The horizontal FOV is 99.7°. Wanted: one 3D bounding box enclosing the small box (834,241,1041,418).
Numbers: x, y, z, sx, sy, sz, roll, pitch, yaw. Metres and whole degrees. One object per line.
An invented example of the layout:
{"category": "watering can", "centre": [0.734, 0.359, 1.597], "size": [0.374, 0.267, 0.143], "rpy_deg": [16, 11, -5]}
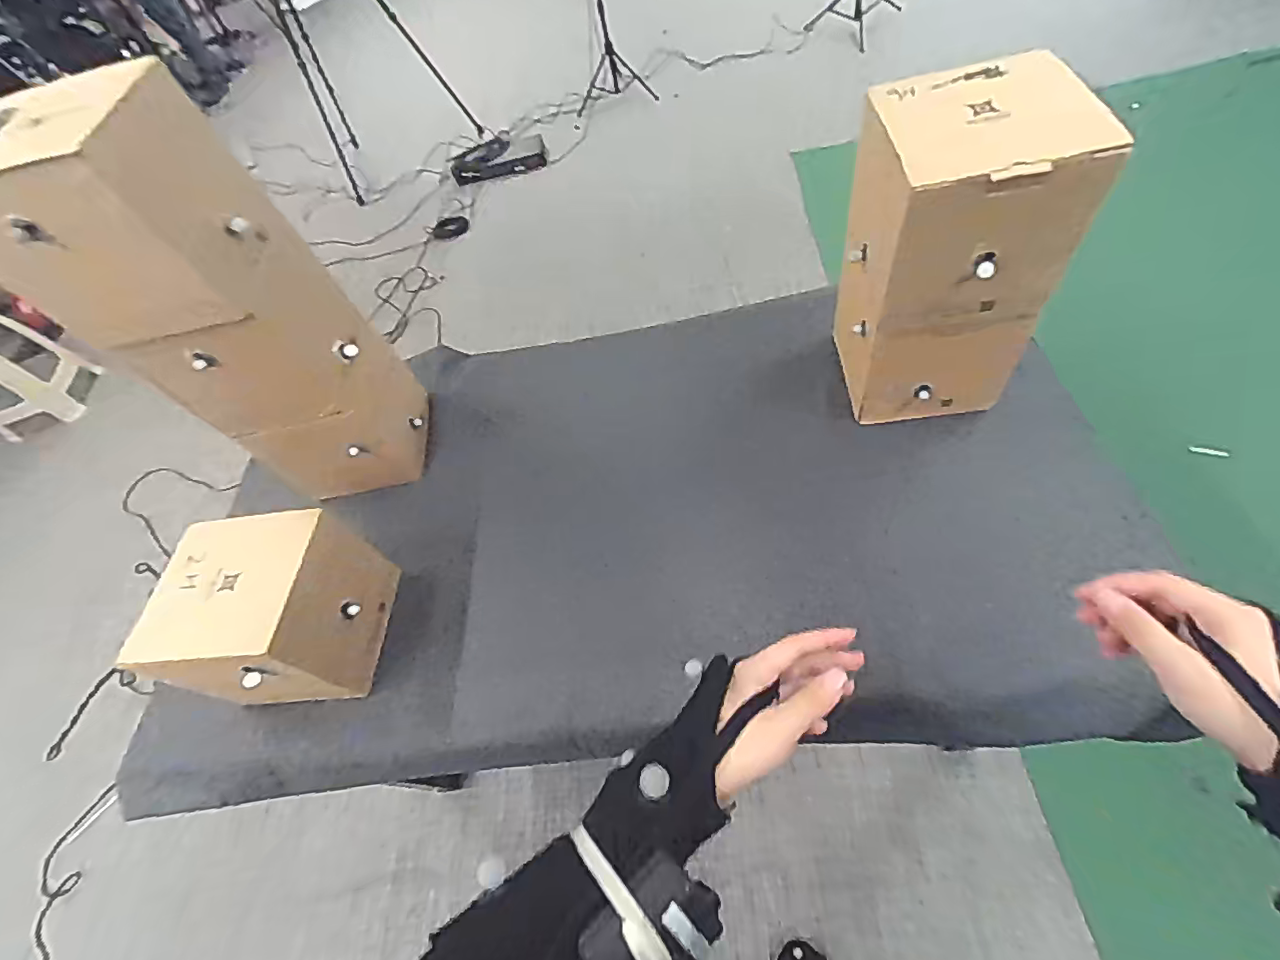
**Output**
{"category": "small box", "centre": [0.351, -0.203, 0.683], "size": [0.168, 0.176, 0.179], "rpy_deg": [-7, 58, 9]}

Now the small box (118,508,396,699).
{"category": "small box", "centre": [-0.420, 0.151, 0.634], "size": [0.179, 0.176, 0.168], "rpy_deg": [-7, 54, 8]}

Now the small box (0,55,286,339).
{"category": "small box", "centre": [-0.496, -0.259, 0.521], "size": [0.179, 0.176, 0.168], "rpy_deg": [-9, 59, 6]}

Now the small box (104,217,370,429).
{"category": "small box", "centre": [-0.470, -0.182, 0.664], "size": [0.179, 0.176, 0.168], "rpy_deg": [-11, 59, 4]}

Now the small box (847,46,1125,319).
{"category": "small box", "centre": [0.316, -0.281, 0.543], "size": [0.168, 0.176, 0.179], "rpy_deg": [-6, 59, 9]}
